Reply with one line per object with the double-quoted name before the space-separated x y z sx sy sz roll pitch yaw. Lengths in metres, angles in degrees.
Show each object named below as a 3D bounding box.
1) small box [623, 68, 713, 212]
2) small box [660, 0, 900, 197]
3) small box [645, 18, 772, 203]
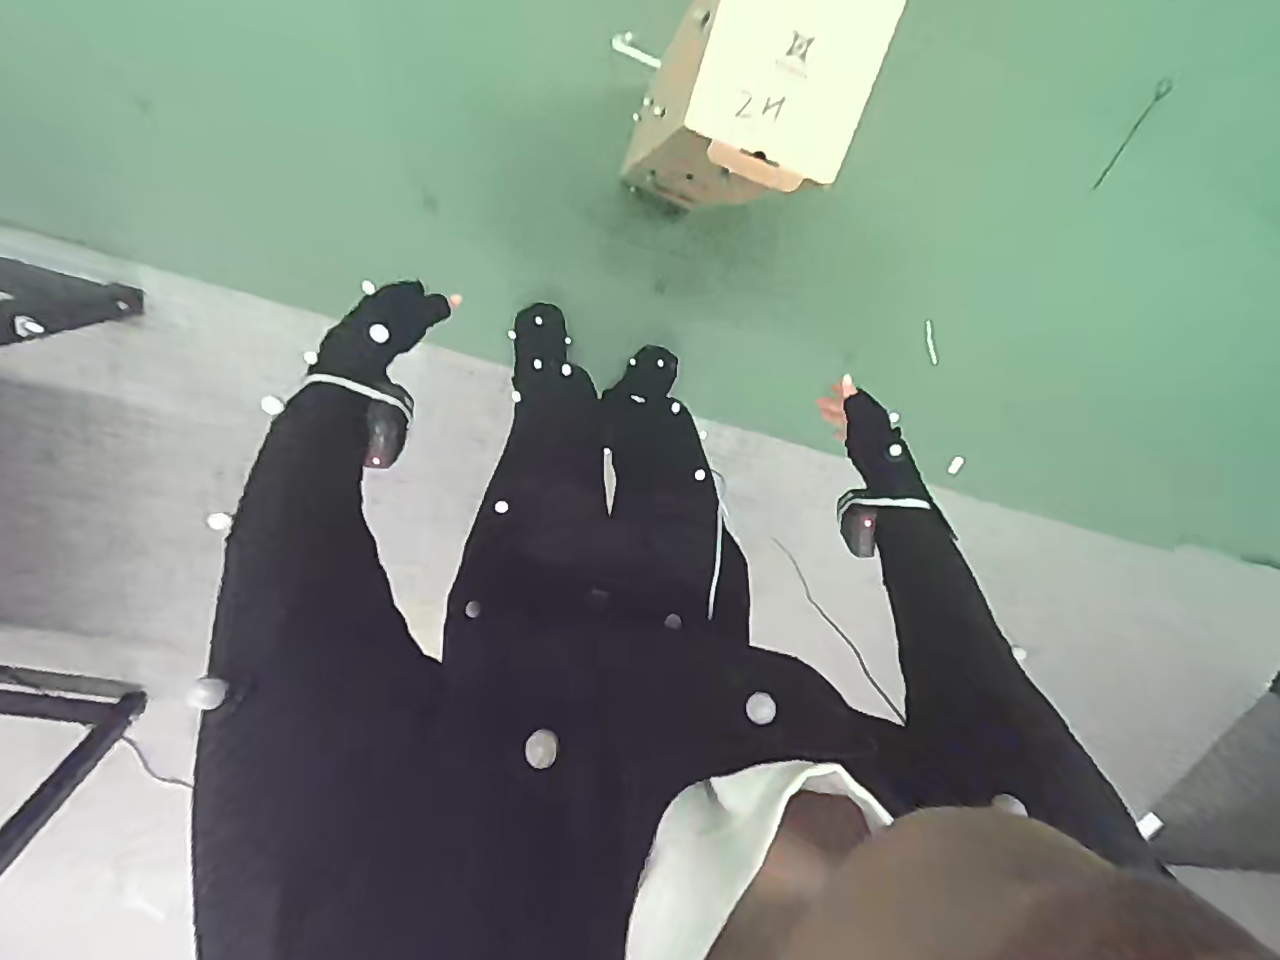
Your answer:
"small box" 0.073 -0.628 1.028 0.168 0.176 0.179 16 111 -15
"small box" 0.130 -0.427 0.582 0.168 0.176 0.179 14 112 -14
"small box" 0.114 -0.496 0.731 0.168 0.176 0.179 14 112 -14
